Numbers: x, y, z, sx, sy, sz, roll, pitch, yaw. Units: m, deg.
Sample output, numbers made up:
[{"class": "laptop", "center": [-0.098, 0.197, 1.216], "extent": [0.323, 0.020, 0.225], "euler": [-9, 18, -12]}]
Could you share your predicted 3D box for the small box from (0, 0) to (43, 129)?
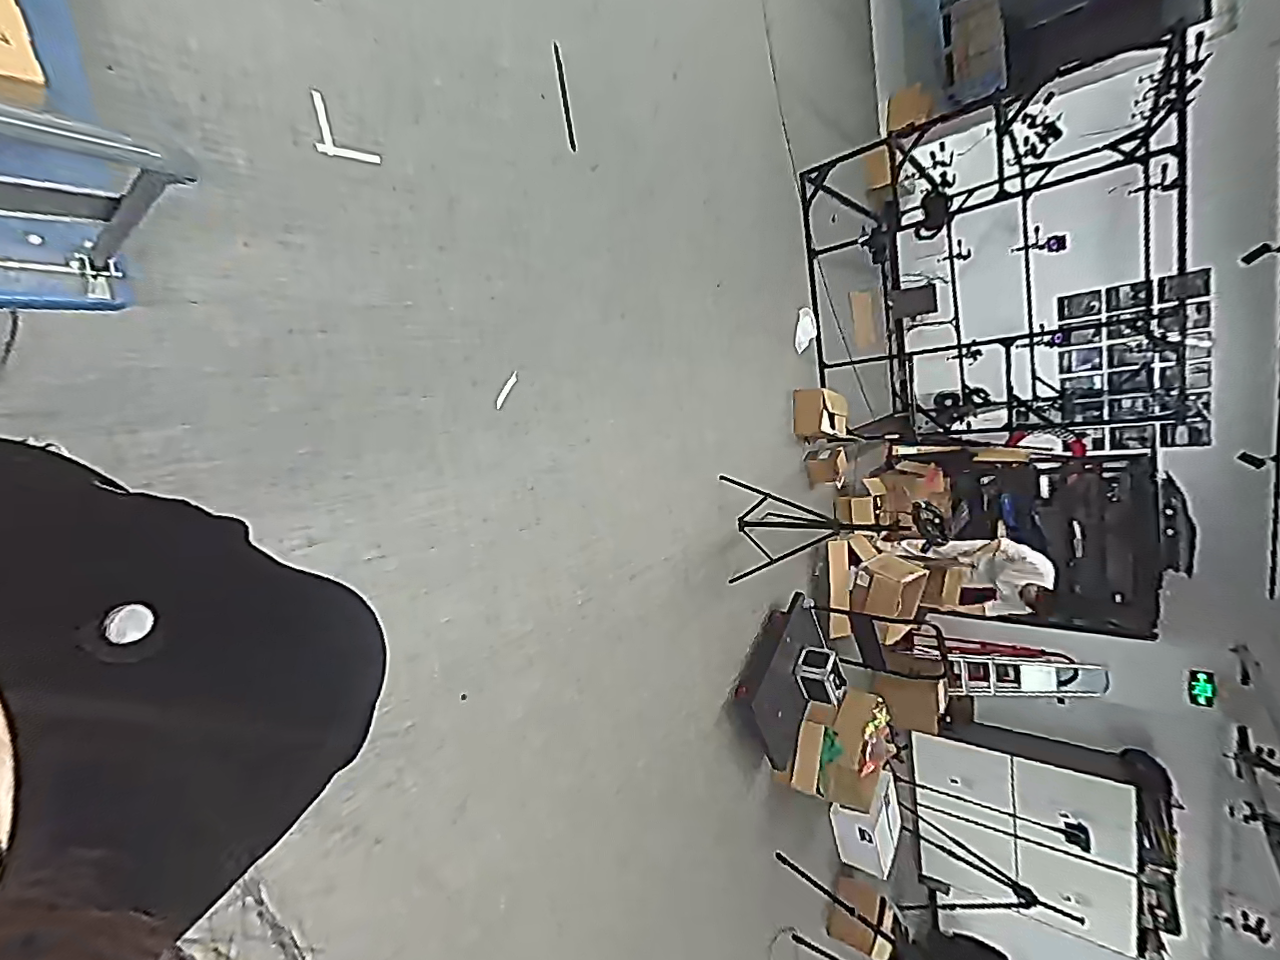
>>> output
[{"class": "small box", "center": [-1.044, -0.657, 0.804], "extent": [0.179, 0.176, 0.168], "euler": [-24, 107, -48]}]
